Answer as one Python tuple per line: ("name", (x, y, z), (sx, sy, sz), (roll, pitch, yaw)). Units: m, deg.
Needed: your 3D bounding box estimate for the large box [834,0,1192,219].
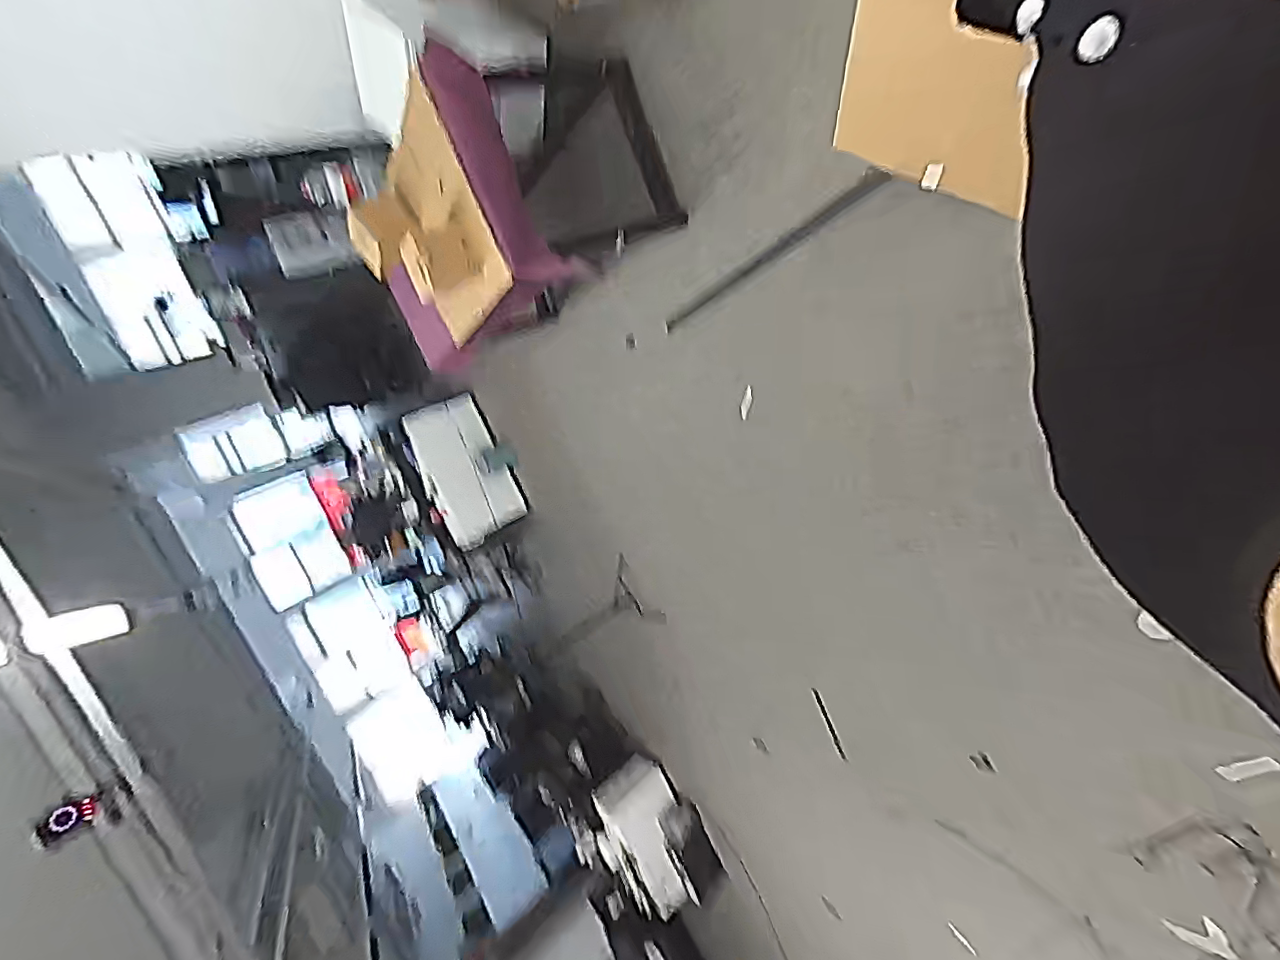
("large box", (0.498, -0.626, 0.657), (0.320, 0.408, 0.320), (35, 173, 19))
